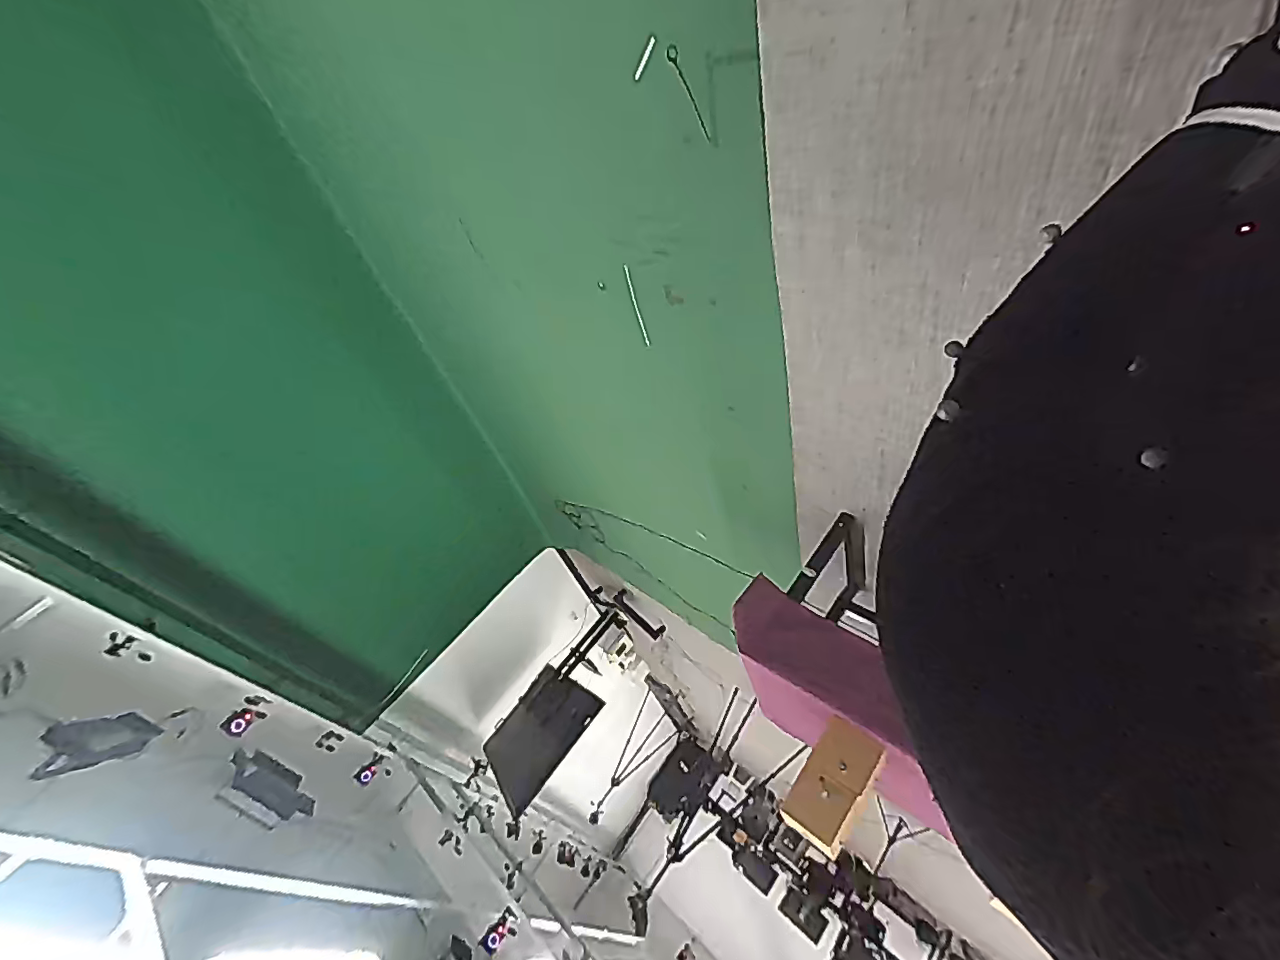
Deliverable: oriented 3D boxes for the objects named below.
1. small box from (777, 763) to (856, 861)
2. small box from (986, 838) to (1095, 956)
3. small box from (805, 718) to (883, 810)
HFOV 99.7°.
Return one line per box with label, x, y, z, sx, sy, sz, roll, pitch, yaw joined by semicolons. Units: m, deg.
small box;0.538;0.999;1.633;0.168;0.176;0.179;23;149;39
small box;1.019;1.060;1.380;0.168;0.176;0.179;25;151;37
small box;0.640;0.882;1.691;0.179;0.176;0.168;25;151;37
